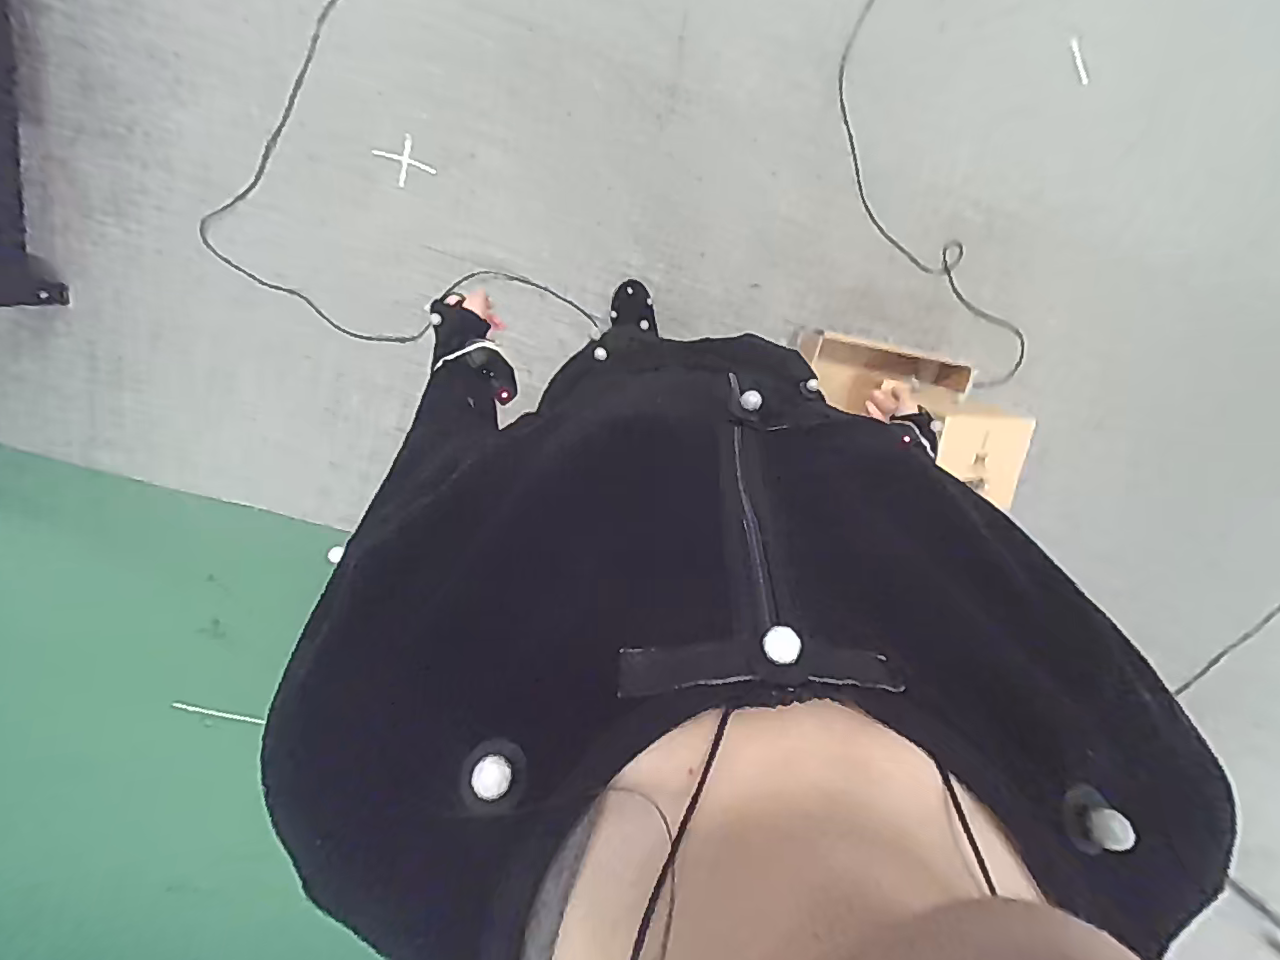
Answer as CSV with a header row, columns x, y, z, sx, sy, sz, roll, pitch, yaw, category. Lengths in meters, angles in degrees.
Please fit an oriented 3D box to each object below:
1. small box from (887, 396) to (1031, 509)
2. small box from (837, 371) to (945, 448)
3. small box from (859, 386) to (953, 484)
x,y,z,sx,sy,sz,roll,pitch,yaw,category
0.608,-0.058,1.060,0.168,0.176,0.179,2,111,-1,small box
0.624,-0.167,1.368,0.168,0.176,0.179,11,111,-4,small box
0.608,-0.106,1.218,0.168,0.176,0.179,-4,111,2,small box
